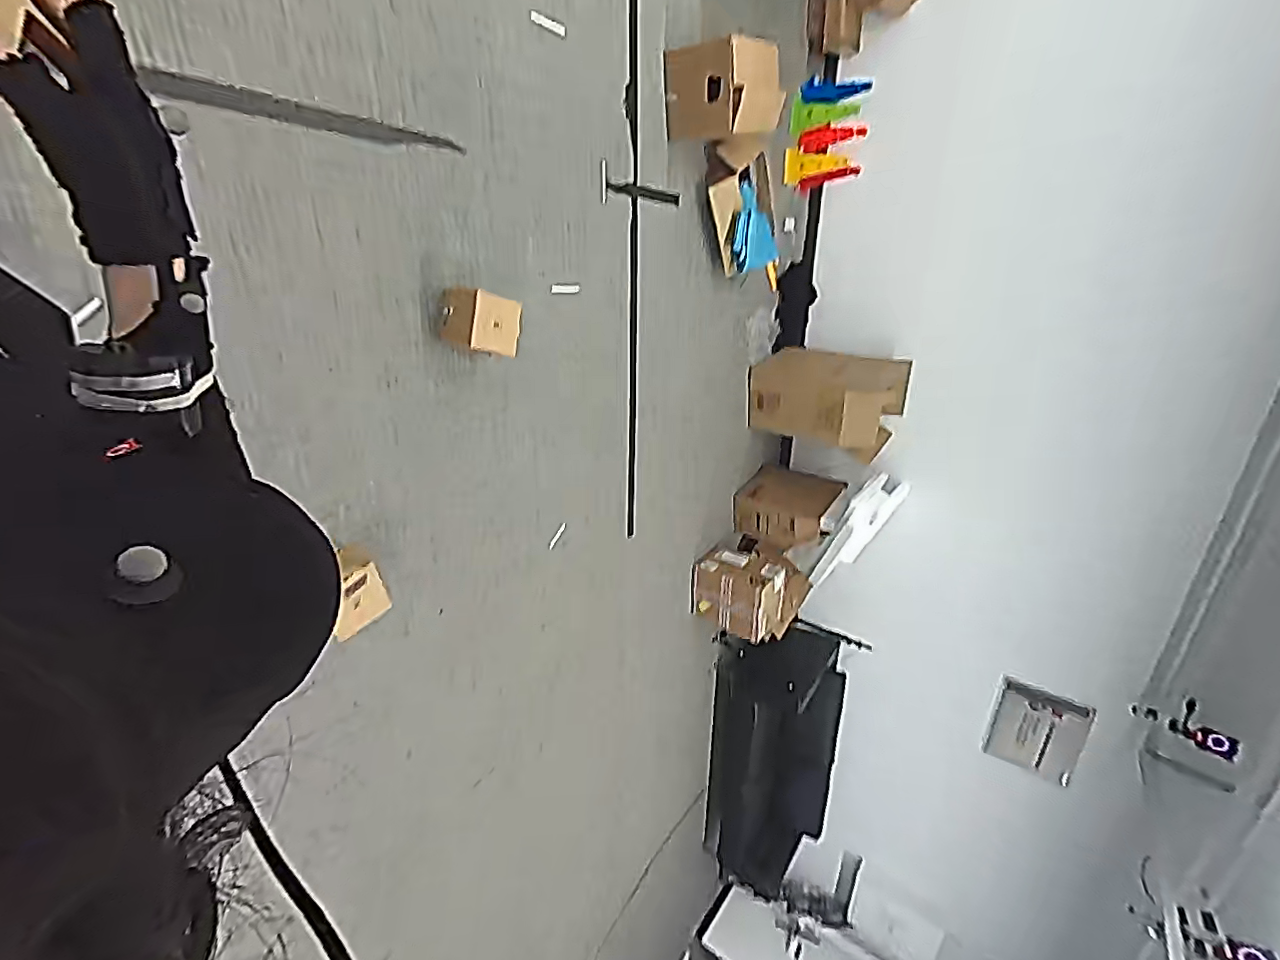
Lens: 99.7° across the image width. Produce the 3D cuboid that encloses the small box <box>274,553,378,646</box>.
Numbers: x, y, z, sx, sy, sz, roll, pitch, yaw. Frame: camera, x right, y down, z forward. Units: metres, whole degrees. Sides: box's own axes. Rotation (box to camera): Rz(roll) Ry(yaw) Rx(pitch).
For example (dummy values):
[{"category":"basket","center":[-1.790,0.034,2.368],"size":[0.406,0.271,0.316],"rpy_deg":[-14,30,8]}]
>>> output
[{"category":"small box","center":[-0.876,0.322,1.509],"size":[0.168,0.176,0.179],"rpy_deg":[-38,133,-43]}]

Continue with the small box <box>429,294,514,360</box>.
[{"category":"small box","center":[-0.525,-0.478,1.683],"size":[0.179,0.176,0.168],"rpy_deg":[-1,103,-55]}]
